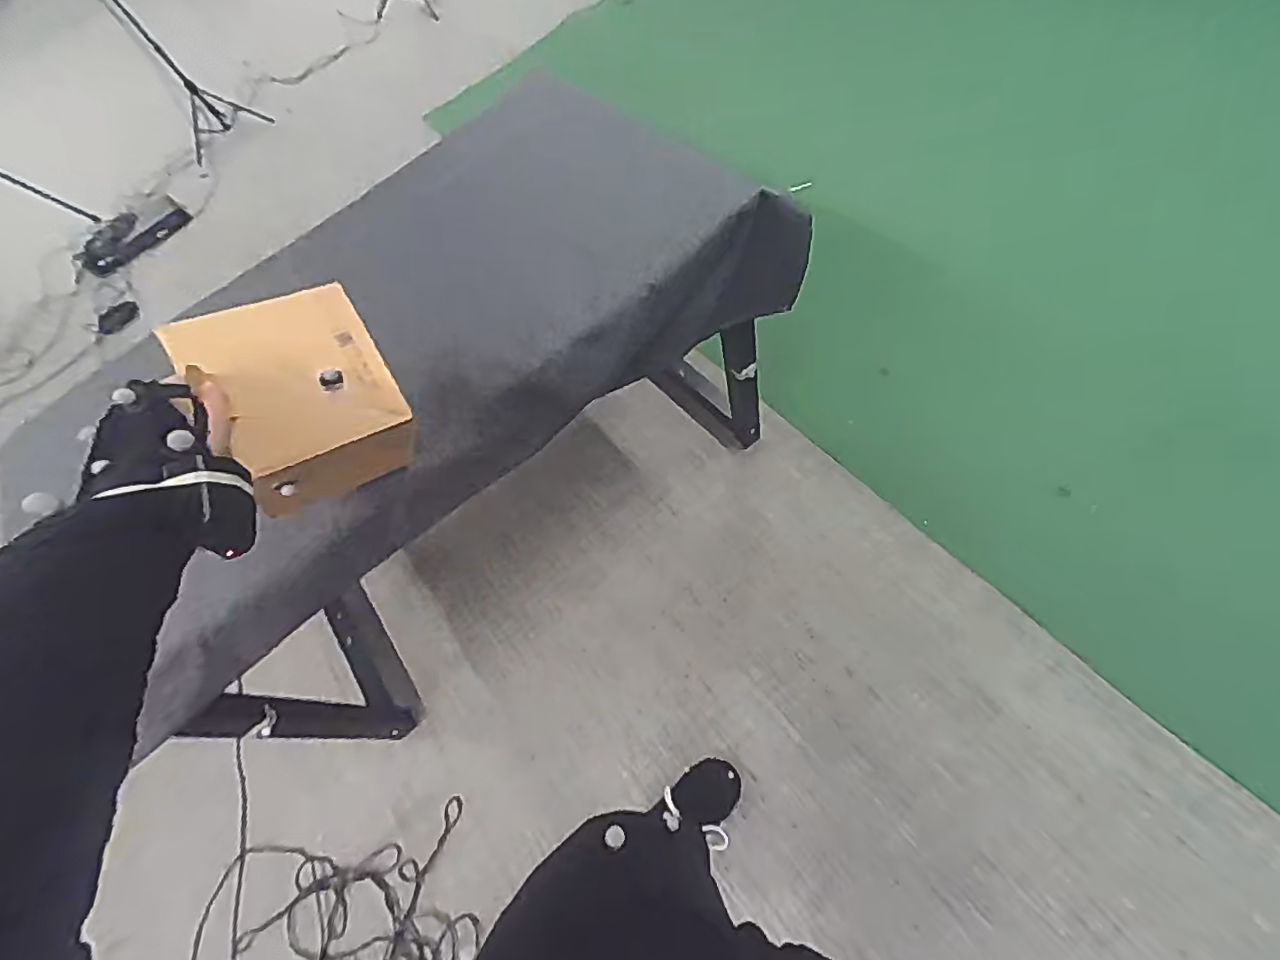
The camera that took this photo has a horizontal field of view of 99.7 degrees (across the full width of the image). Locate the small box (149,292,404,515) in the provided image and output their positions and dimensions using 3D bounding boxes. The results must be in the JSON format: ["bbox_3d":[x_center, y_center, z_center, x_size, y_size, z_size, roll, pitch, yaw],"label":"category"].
[{"bbox_3d":[-0.380,-0.080,0.600,0.176,0.179,0.168,-28,90,-30],"label":"small box"}]
